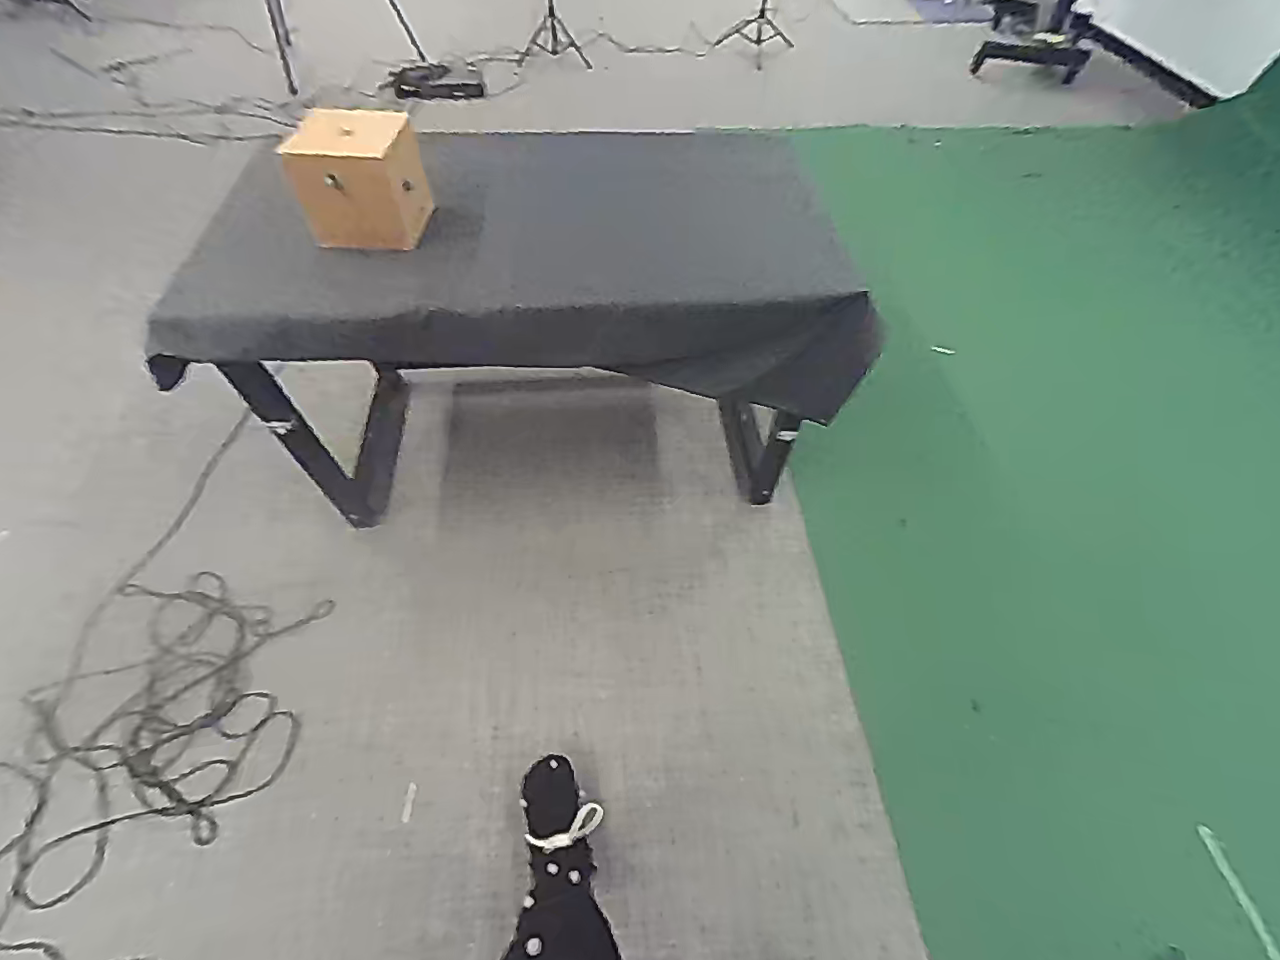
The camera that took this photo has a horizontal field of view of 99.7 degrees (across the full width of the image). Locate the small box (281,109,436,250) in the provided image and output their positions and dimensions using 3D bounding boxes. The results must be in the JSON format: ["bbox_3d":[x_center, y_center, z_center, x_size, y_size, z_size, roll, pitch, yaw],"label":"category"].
[{"bbox_3d":[-0.490,-0.539,0.980,0.179,0.176,0.168,3,55,0],"label":"small box"}]
